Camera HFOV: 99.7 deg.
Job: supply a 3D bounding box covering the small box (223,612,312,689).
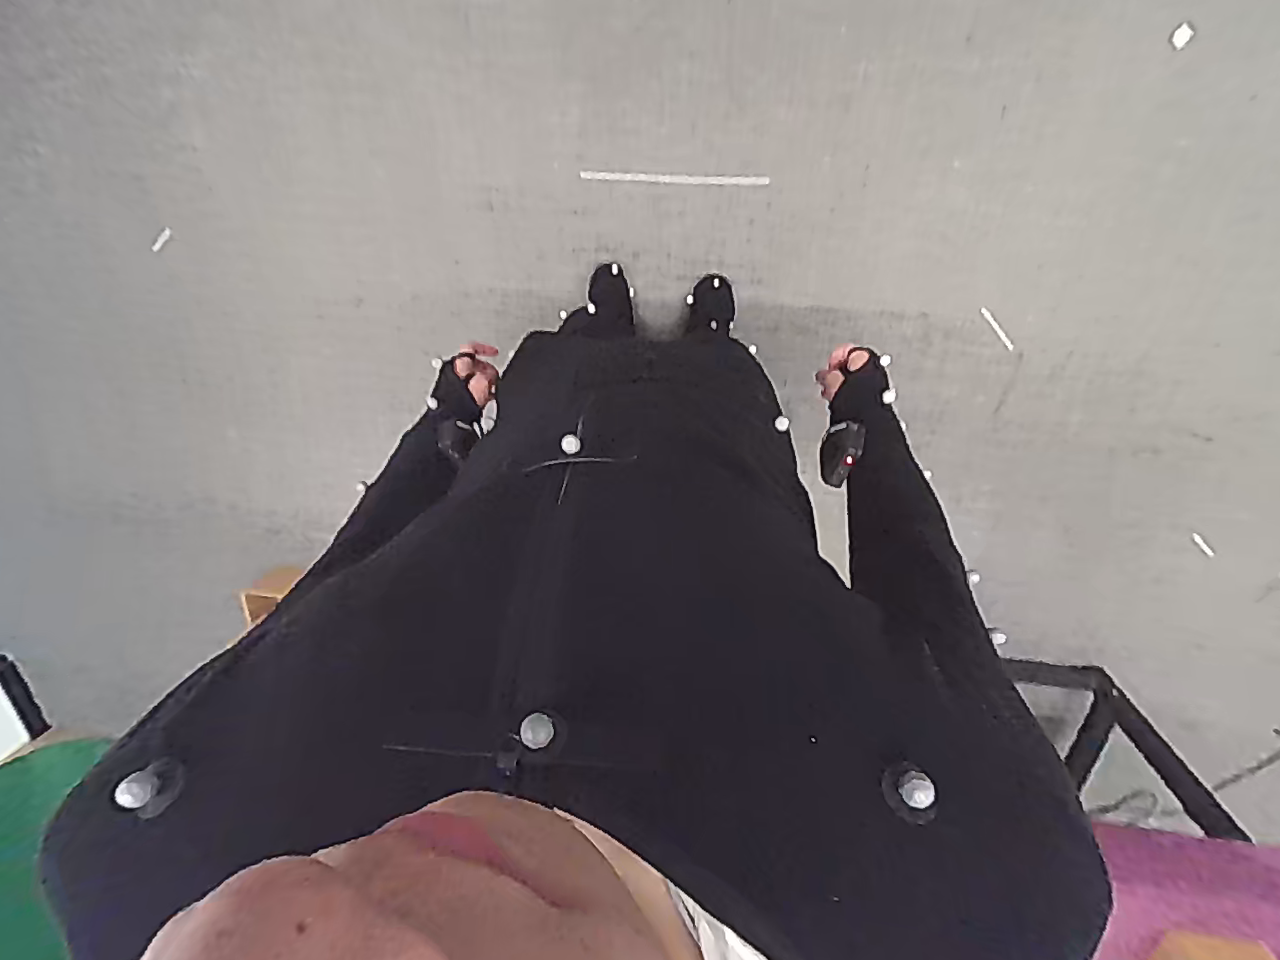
[{"bbox_3d":[-1.261,0.573,1.841,0.179,0.176,0.168,11,115,3],"label":"small box"}]
